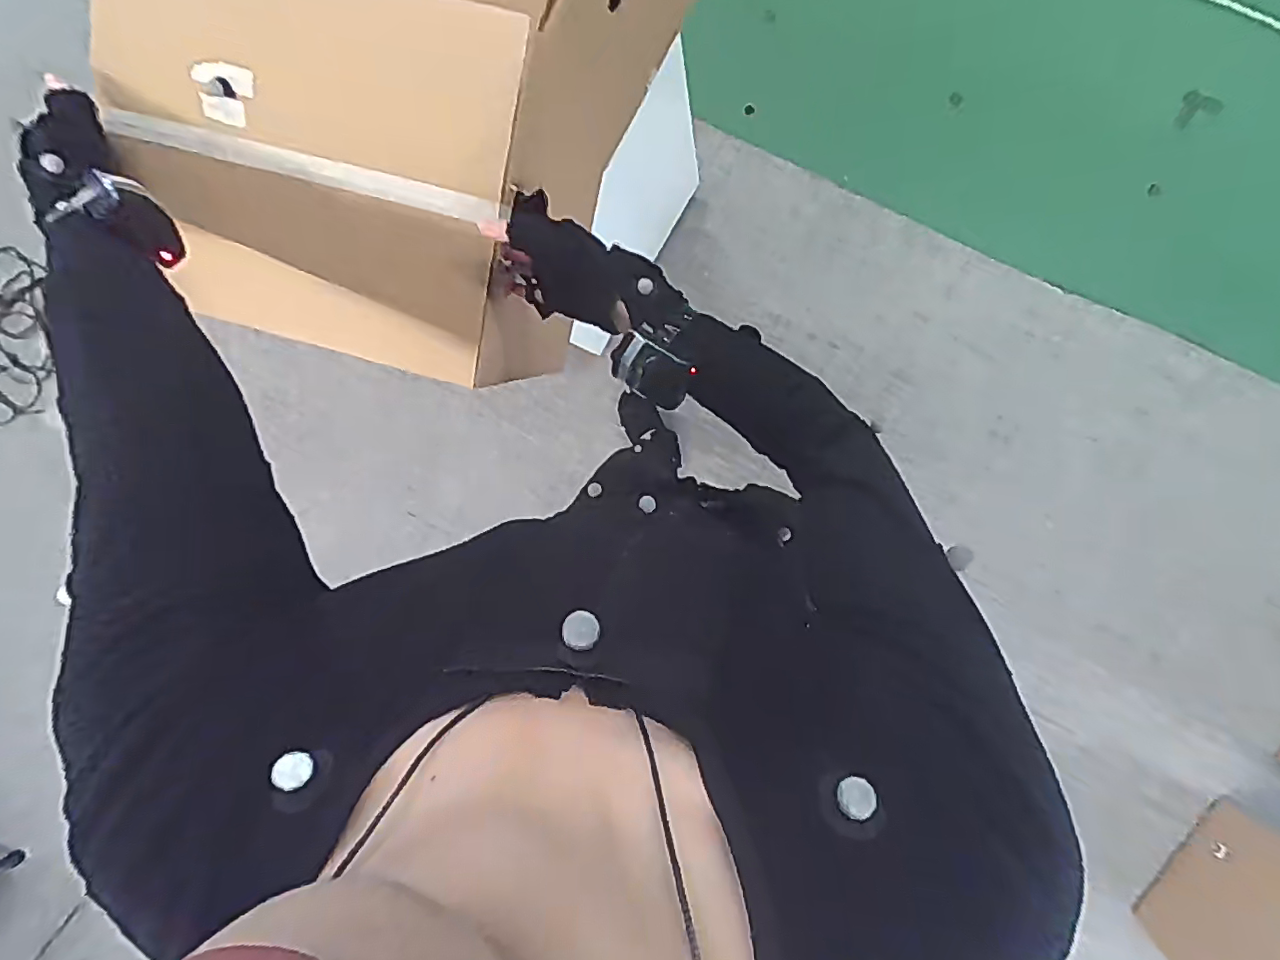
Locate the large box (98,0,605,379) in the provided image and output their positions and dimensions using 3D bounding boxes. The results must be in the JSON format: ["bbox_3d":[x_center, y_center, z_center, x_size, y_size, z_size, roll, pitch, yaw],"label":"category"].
[{"bbox_3d":[-0.288,-0.328,0.636,0.408,0.320,0.320,16,107,5],"label":"large box"}]
